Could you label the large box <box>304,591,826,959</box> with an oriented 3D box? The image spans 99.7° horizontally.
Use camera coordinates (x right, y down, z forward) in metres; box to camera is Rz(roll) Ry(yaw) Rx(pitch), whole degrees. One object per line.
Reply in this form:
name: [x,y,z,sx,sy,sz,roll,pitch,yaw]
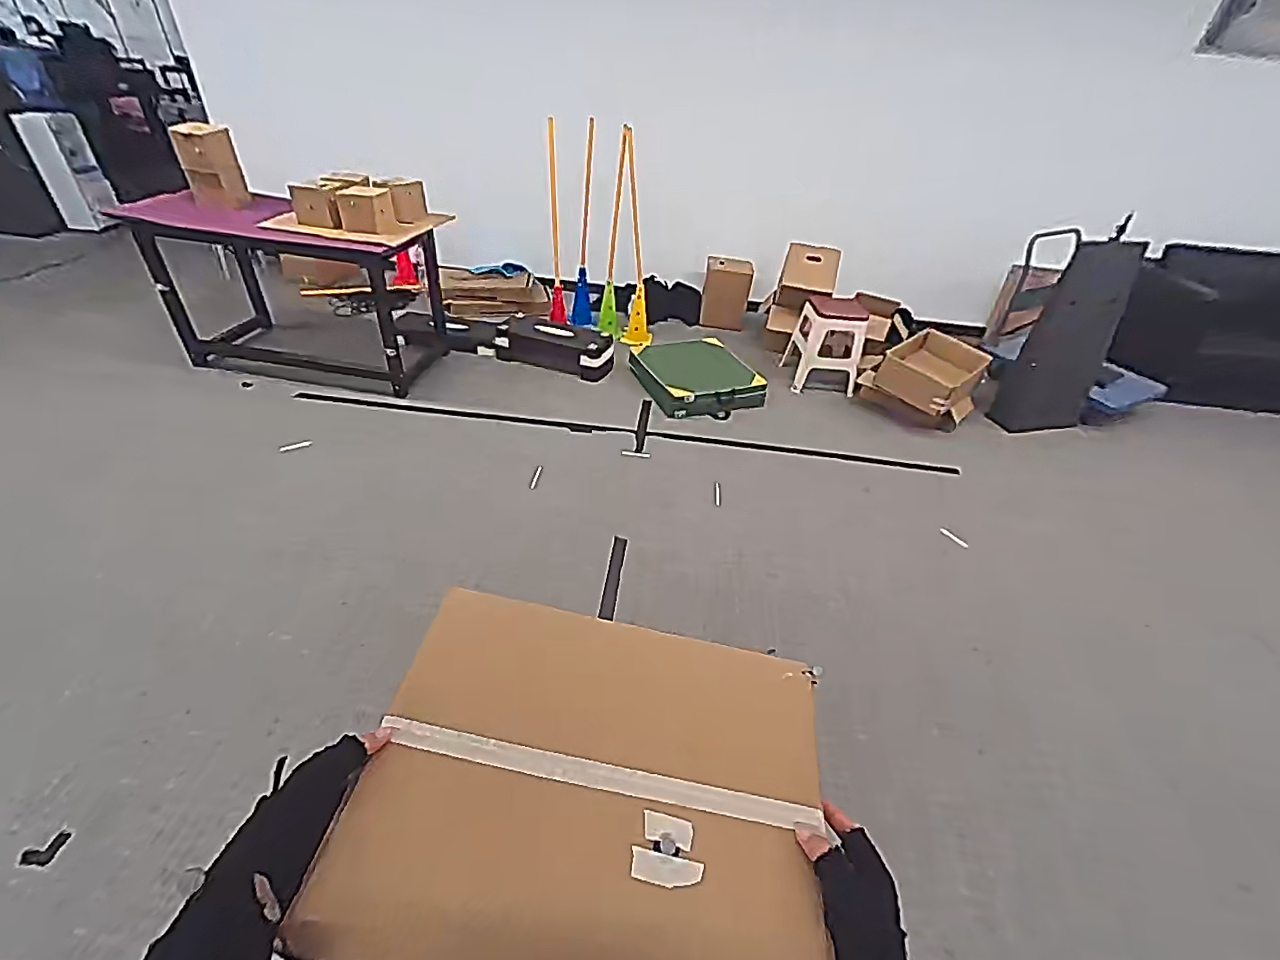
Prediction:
large box: [-0.055,0.371,0.602,0.408,0.320,0.320,12,44,1]
